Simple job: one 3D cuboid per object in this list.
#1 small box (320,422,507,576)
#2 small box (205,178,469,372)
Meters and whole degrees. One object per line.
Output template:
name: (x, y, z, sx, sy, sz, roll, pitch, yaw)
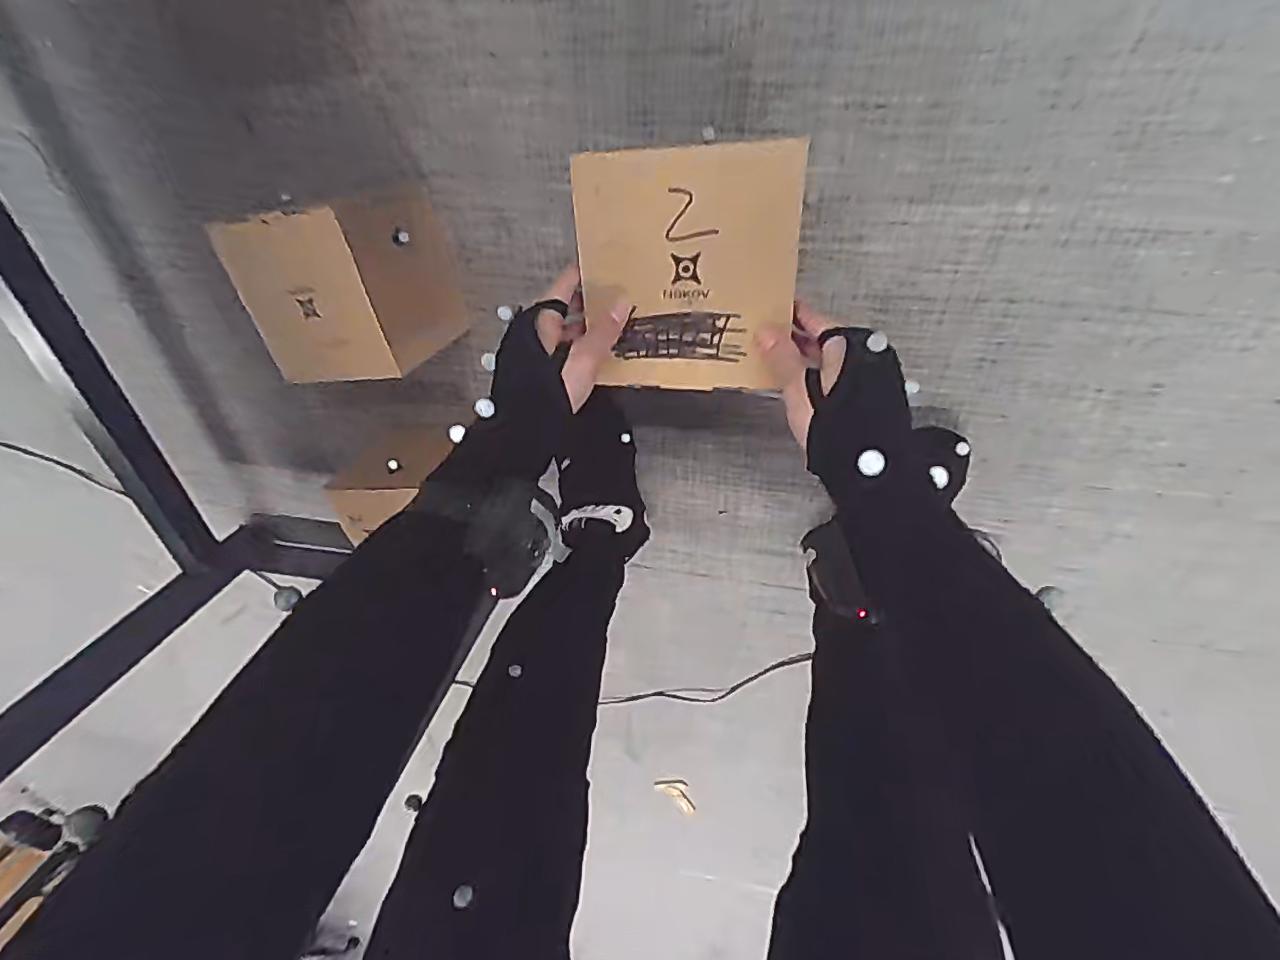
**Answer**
small box: (-0.315, 0.023, 0.803, 0.179, 0.176, 0.168, -1, 124, 15)
small box: (-0.327, -0.240, 0.625, 0.168, 0.176, 0.179, 1, 125, 15)
